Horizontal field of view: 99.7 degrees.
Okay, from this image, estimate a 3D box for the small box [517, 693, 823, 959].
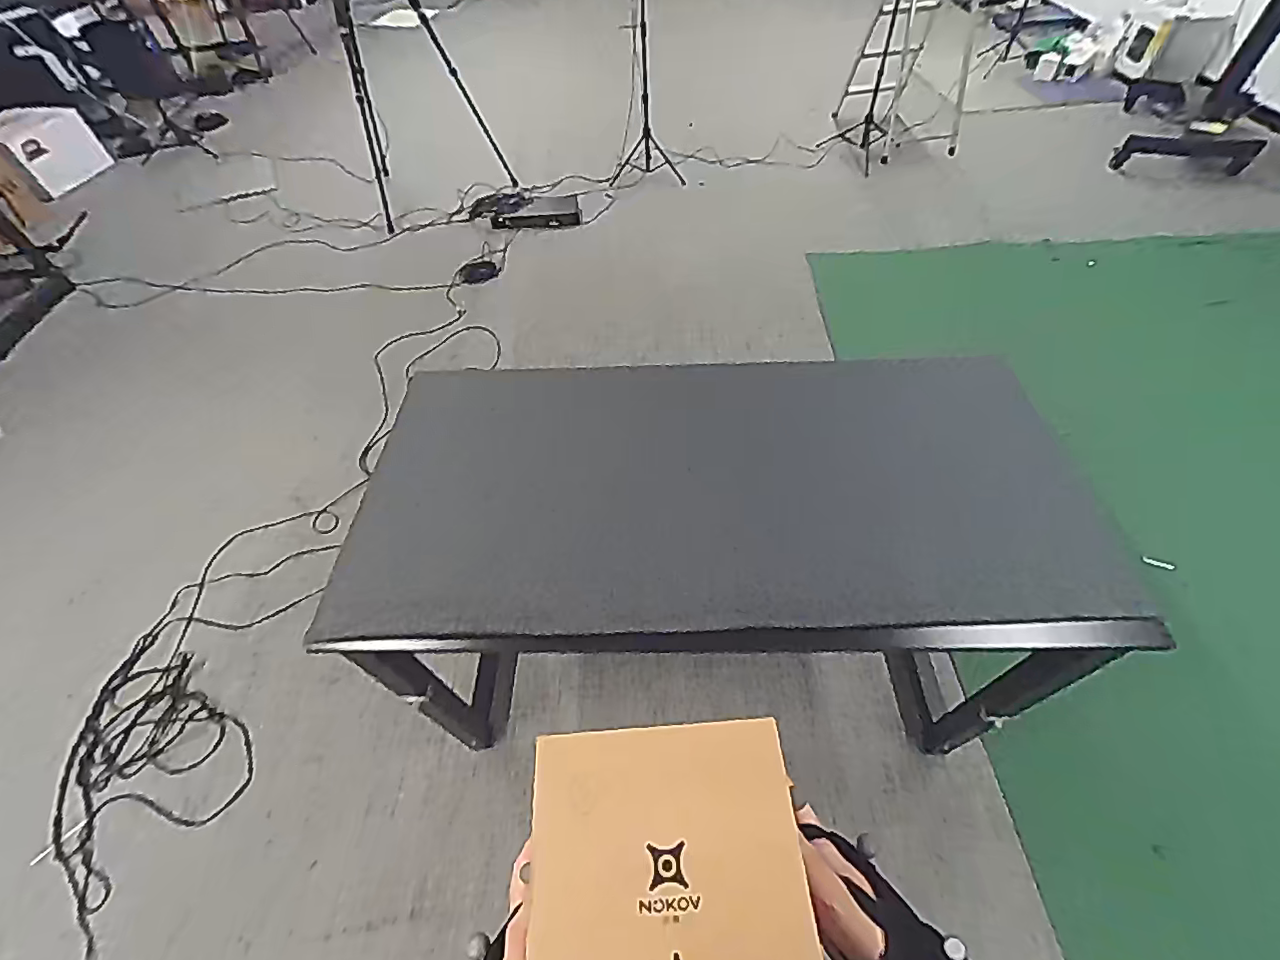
[{"bbox_3d":[0.017,0.267,0.379,0.168,0.176,0.179,-4,52,1],"label":"small box"}]
